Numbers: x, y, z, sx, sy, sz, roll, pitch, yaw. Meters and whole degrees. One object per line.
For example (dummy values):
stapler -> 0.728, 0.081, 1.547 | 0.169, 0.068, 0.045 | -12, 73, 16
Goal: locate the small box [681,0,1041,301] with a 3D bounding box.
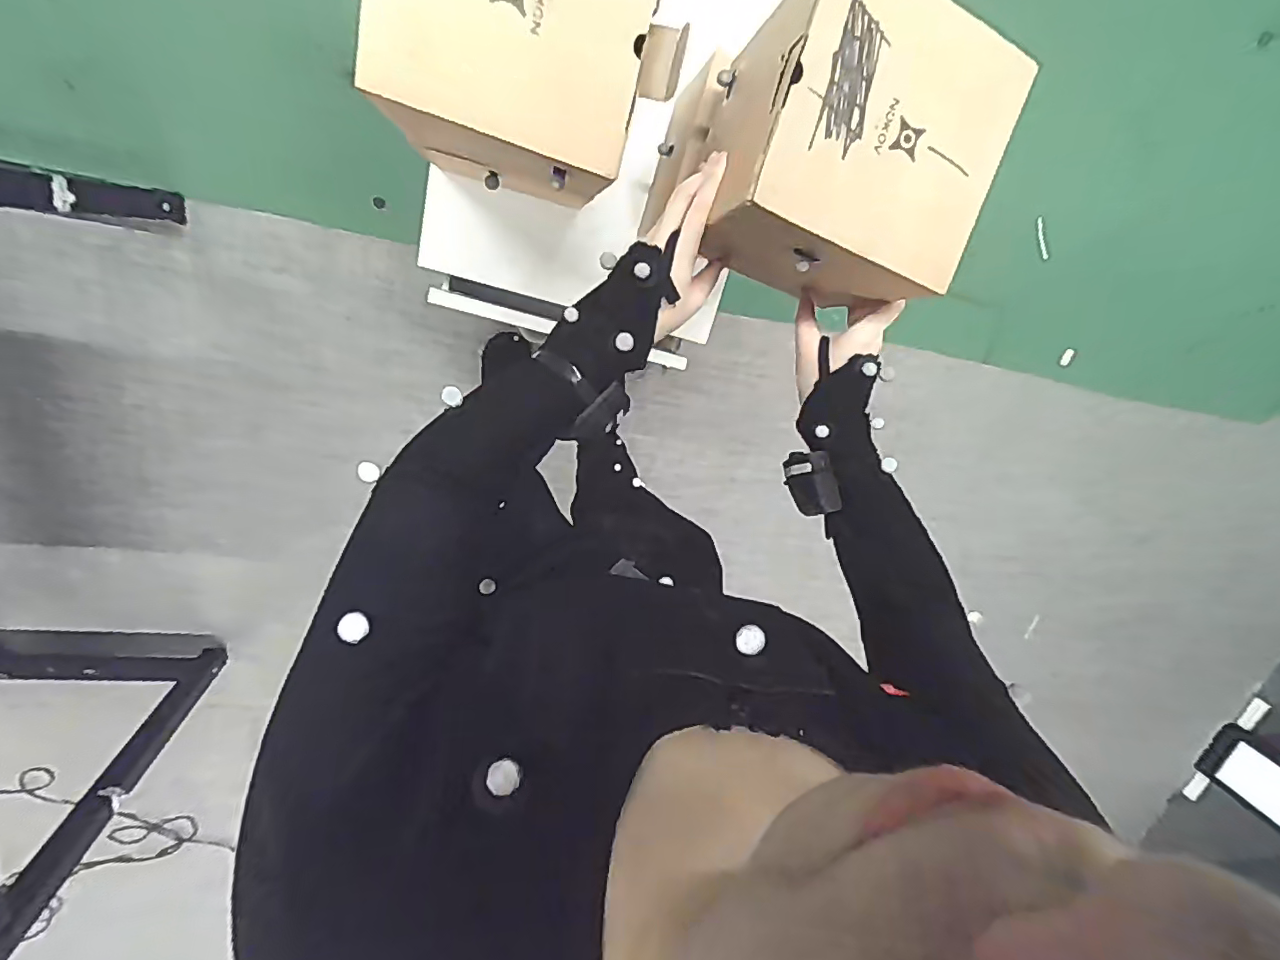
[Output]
small box -> 0.153, -0.253, 0.434 | 0.179, 0.176, 0.168 | 15, 100, -18

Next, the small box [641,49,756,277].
small box -> 0.112, -0.335, 0.616 | 0.179, 0.176, 0.168 | 13, 110, -15

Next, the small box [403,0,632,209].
small box -> -0.123, -0.390, 0.550 | 0.179, 0.176, 0.168 | 10, 109, -15
